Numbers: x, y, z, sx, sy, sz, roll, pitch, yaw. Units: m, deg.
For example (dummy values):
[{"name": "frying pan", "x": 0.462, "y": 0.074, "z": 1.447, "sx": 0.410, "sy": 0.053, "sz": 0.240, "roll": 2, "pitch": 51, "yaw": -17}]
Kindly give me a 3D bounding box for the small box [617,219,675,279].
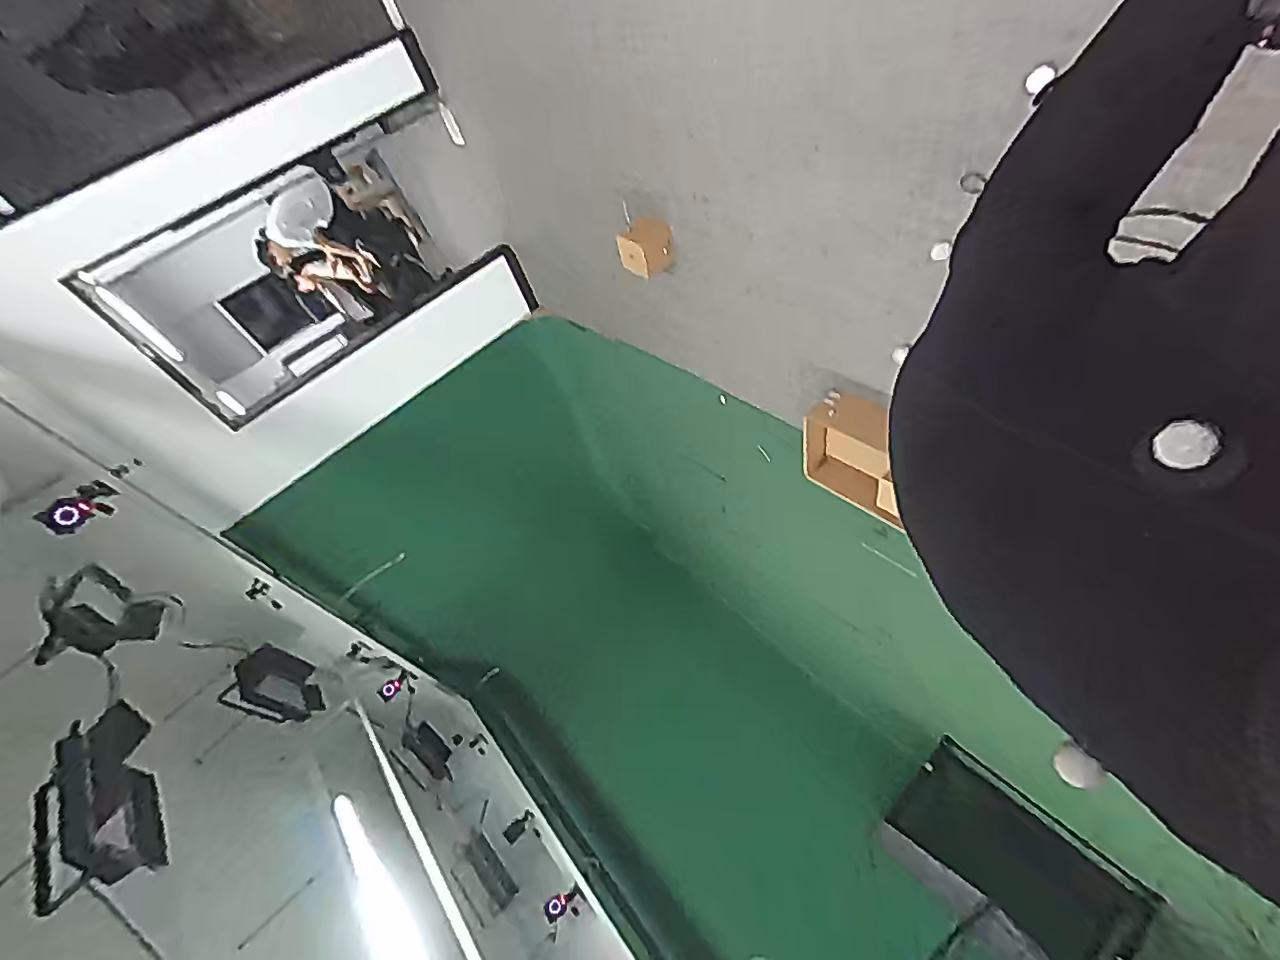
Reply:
[{"name": "small box", "x": 0.029, "y": -1.023, "z": 2.380, "sx": 0.179, "sy": 0.176, "sz": 0.168, "roll": 38, "pitch": 160, "yaw": 32}]
